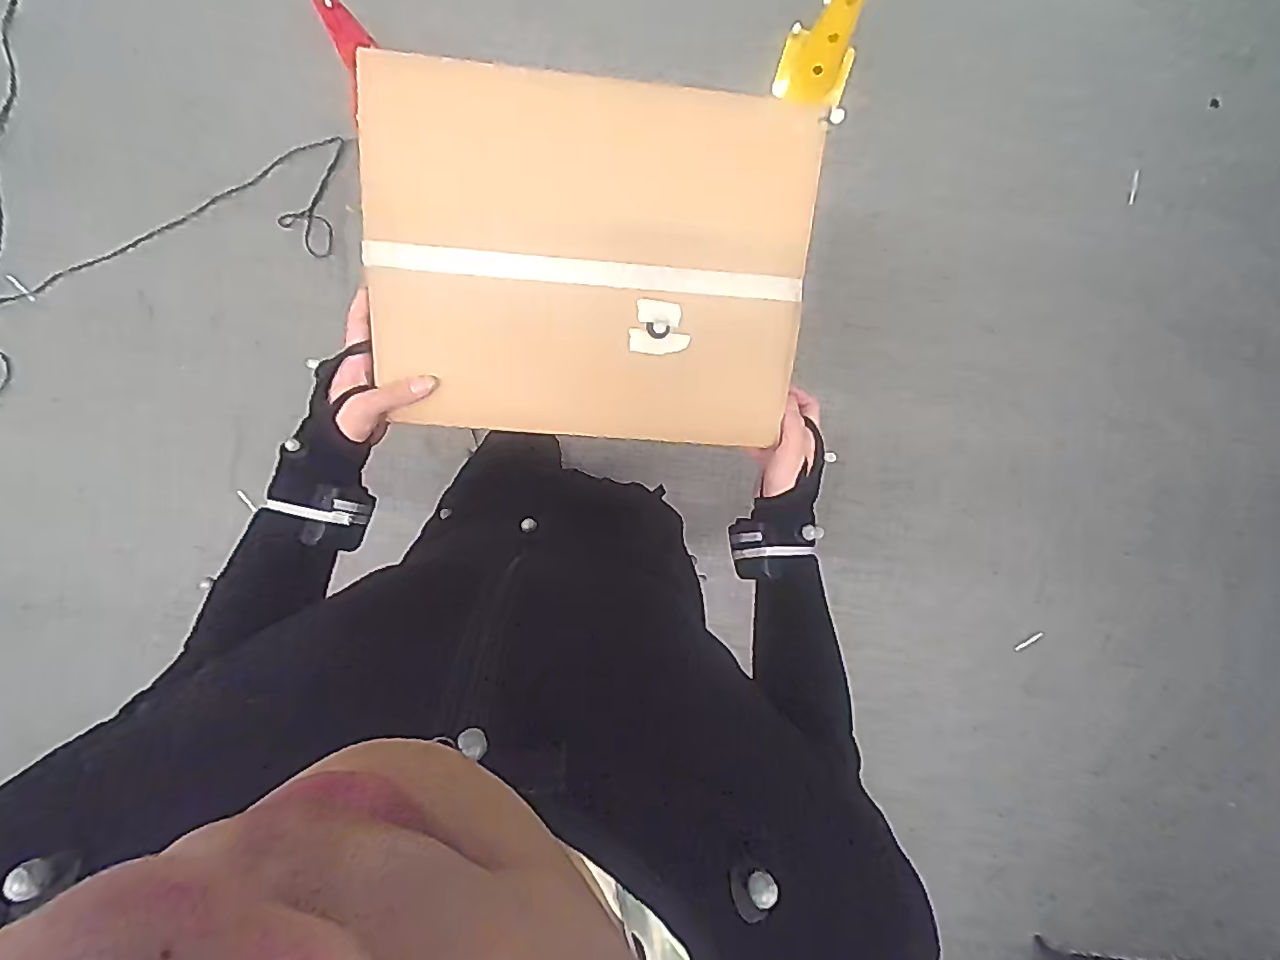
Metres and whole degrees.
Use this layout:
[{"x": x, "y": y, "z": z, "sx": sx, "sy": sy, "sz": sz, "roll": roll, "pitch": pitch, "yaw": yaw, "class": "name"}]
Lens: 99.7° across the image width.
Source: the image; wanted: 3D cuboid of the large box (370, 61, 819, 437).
[{"x": -0.055, "y": -0.240, "z": 0.657, "sx": 0.408, "sy": 0.320, "sz": 0.320, "roll": 3, "pitch": 106, "yaw": -5, "class": "large box"}]
